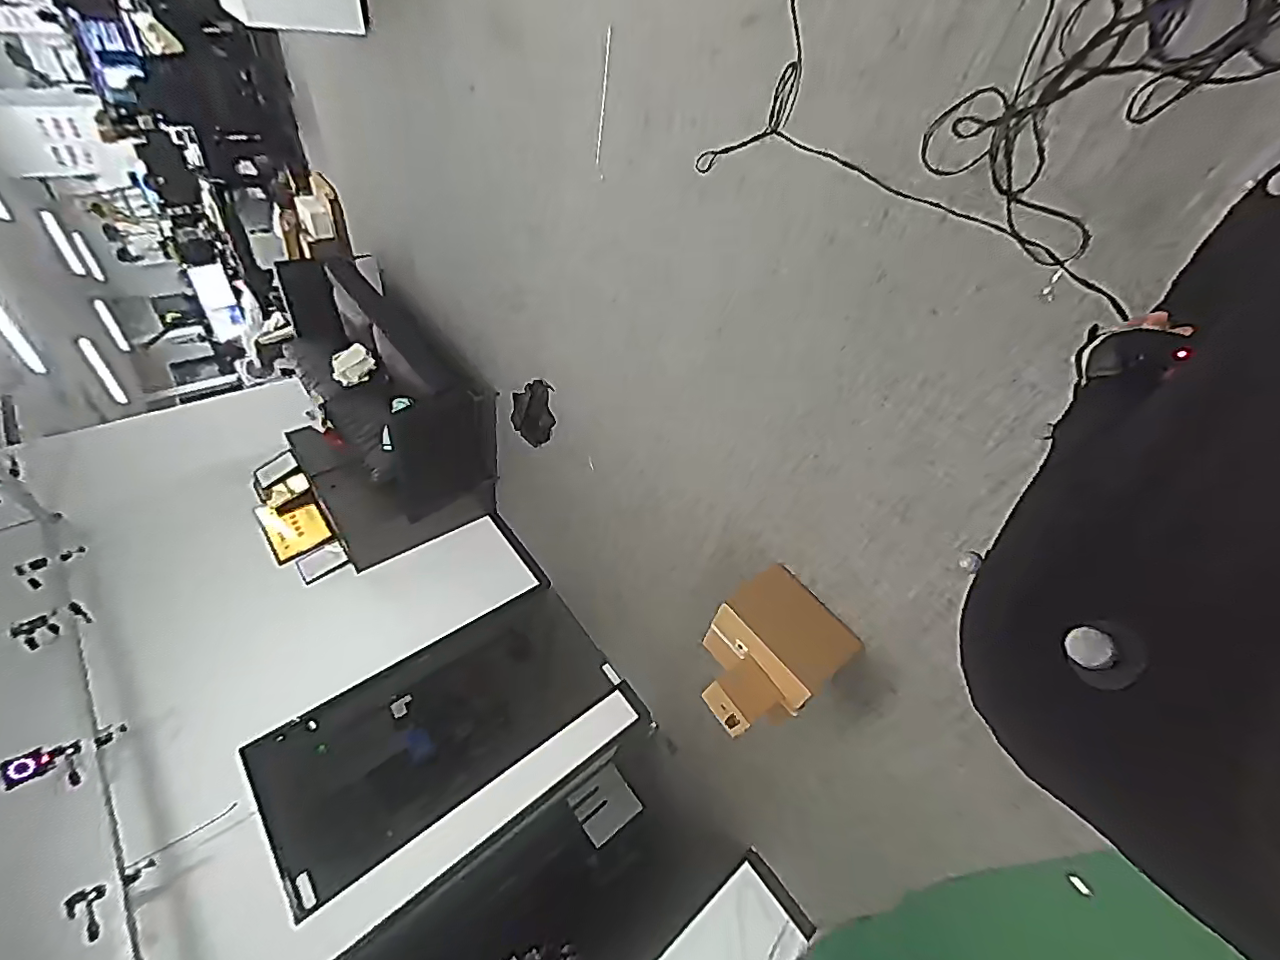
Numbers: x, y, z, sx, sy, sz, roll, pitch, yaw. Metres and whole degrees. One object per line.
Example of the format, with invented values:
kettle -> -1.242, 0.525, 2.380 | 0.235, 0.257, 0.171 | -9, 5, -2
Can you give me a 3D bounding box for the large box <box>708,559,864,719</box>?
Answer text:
large box -> 0.522, 0.573, 1.980 | 0.408, 0.320, 0.320 | 46, 143, 28
